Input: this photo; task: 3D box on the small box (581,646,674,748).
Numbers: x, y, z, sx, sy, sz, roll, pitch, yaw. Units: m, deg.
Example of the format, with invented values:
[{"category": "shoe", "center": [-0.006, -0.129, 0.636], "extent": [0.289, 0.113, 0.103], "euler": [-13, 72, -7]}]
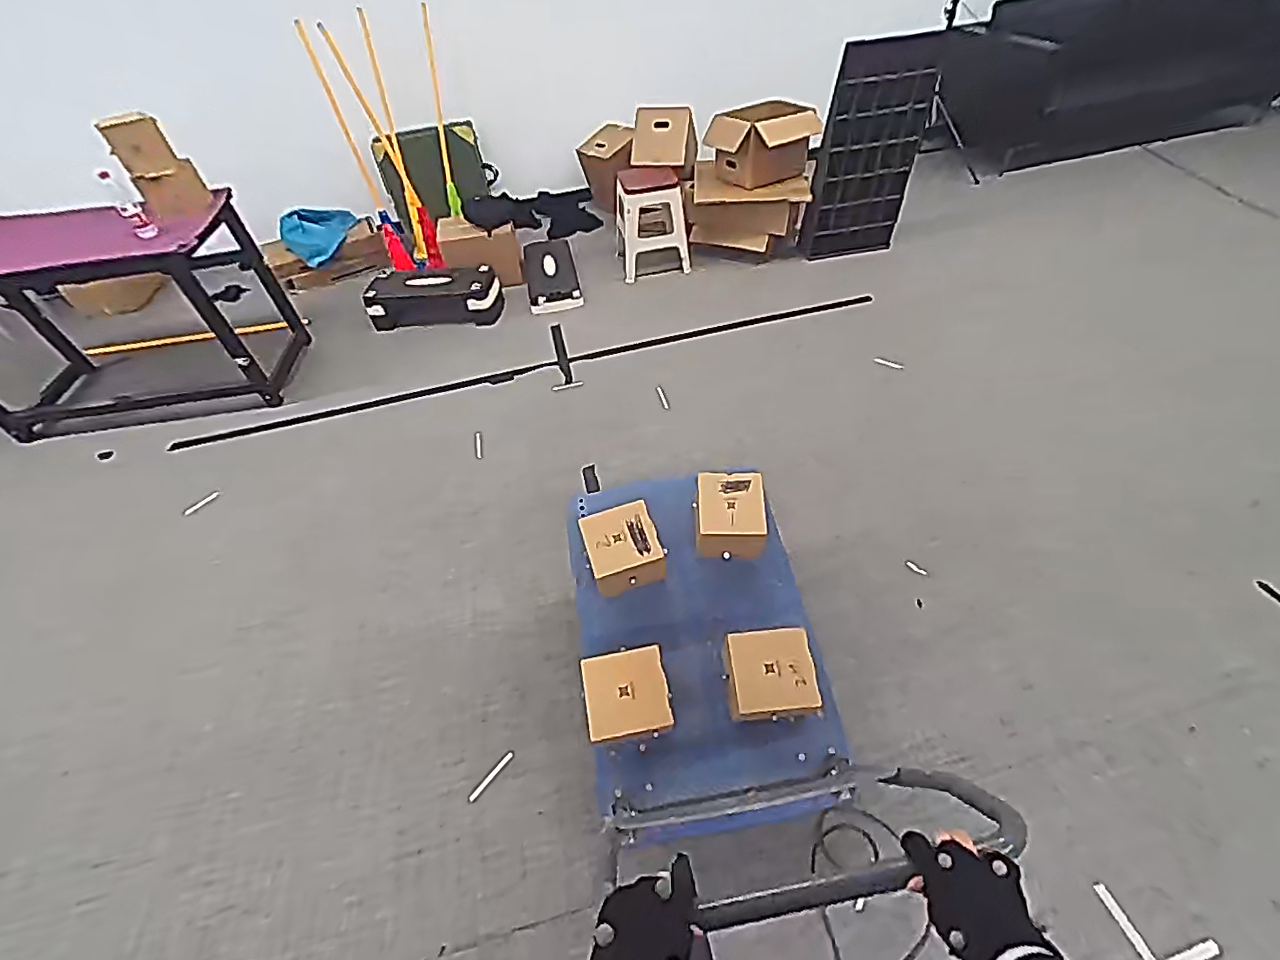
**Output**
[{"category": "small box", "center": [-0.027, 0.489, 1.207], "extent": [0.179, 0.176, 0.168], "euler": [-10, 60, -6]}]

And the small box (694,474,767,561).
[{"category": "small box", "center": [0.230, 0.099, 1.422], "extent": [0.168, 0.176, 0.179], "euler": [0, 61, 2]}]

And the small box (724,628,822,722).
[{"category": "small box", "center": [0.288, 0.444, 1.220], "extent": [0.179, 0.176, 0.168], "euler": [-5, 60, -1]}]
